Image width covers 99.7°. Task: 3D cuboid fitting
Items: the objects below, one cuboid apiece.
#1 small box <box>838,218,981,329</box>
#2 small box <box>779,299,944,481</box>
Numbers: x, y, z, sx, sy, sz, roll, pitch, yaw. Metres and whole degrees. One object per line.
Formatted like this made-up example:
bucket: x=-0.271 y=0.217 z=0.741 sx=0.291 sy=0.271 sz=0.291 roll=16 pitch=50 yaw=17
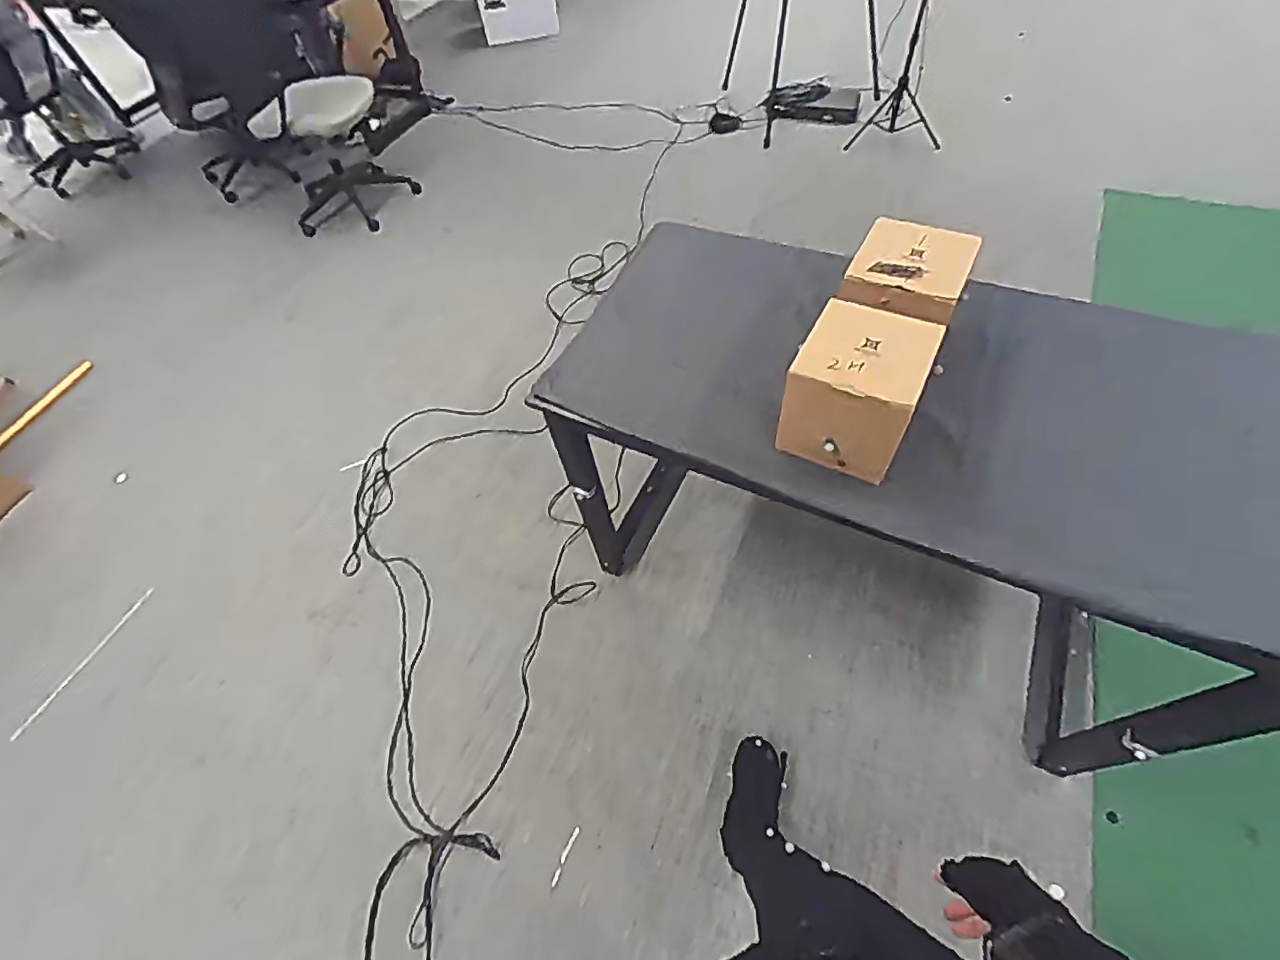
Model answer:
small box: x=0.433 y=-0.301 z=0.906 sx=0.168 sy=0.176 sz=0.179 roll=24 pitch=62 yaw=20
small box: x=0.318 y=-0.132 z=0.803 sx=0.168 sy=0.176 sz=0.179 roll=23 pitch=61 yaw=20
